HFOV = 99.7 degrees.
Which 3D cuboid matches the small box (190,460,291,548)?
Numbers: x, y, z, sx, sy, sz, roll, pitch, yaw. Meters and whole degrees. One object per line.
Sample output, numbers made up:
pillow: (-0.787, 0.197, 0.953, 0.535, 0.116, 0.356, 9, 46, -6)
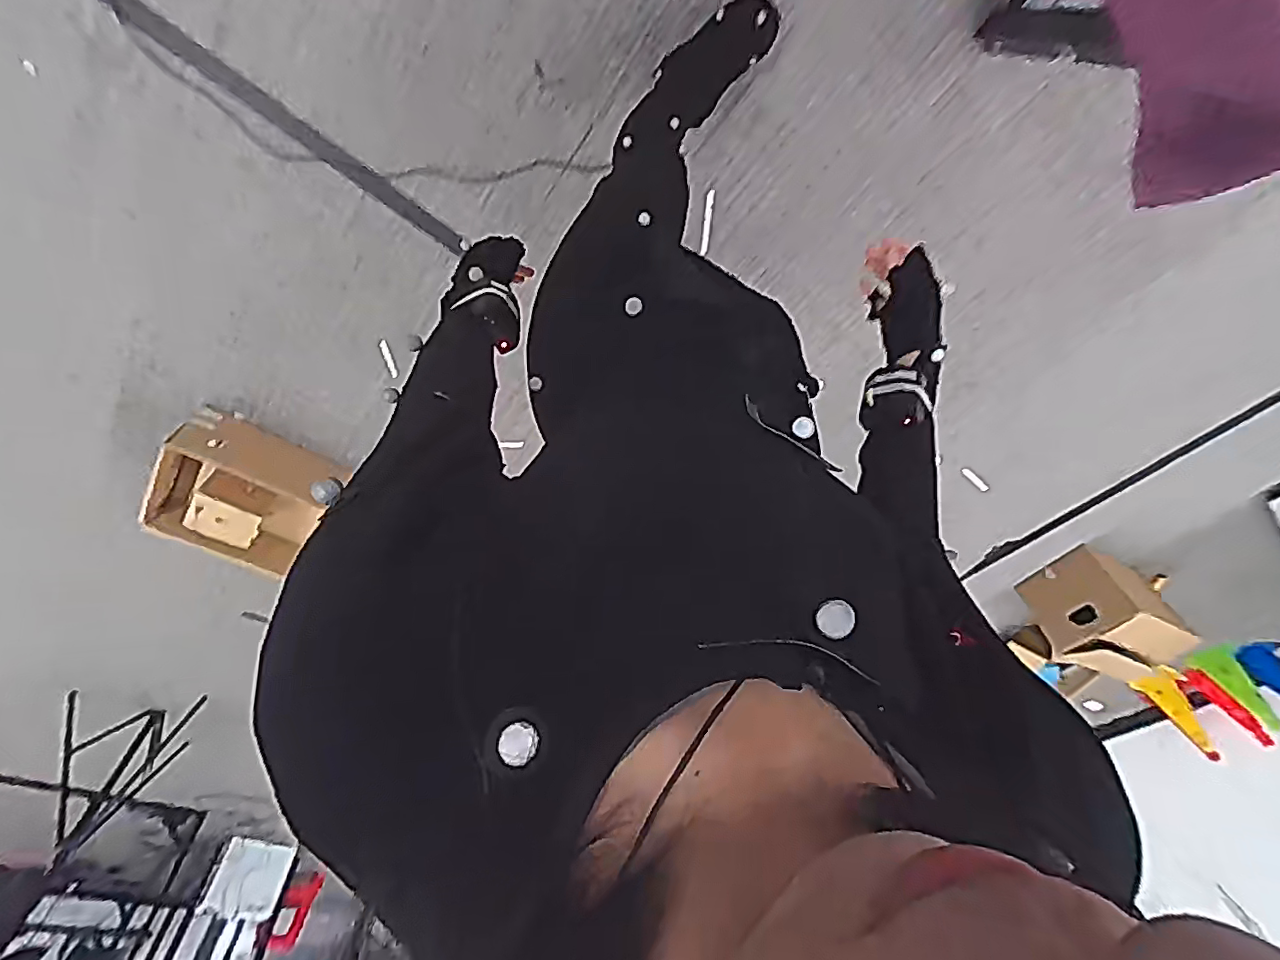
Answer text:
small box: (-1.191, 0.069, 1.624, 0.179, 0.176, 0.168, 30, 122, -27)
